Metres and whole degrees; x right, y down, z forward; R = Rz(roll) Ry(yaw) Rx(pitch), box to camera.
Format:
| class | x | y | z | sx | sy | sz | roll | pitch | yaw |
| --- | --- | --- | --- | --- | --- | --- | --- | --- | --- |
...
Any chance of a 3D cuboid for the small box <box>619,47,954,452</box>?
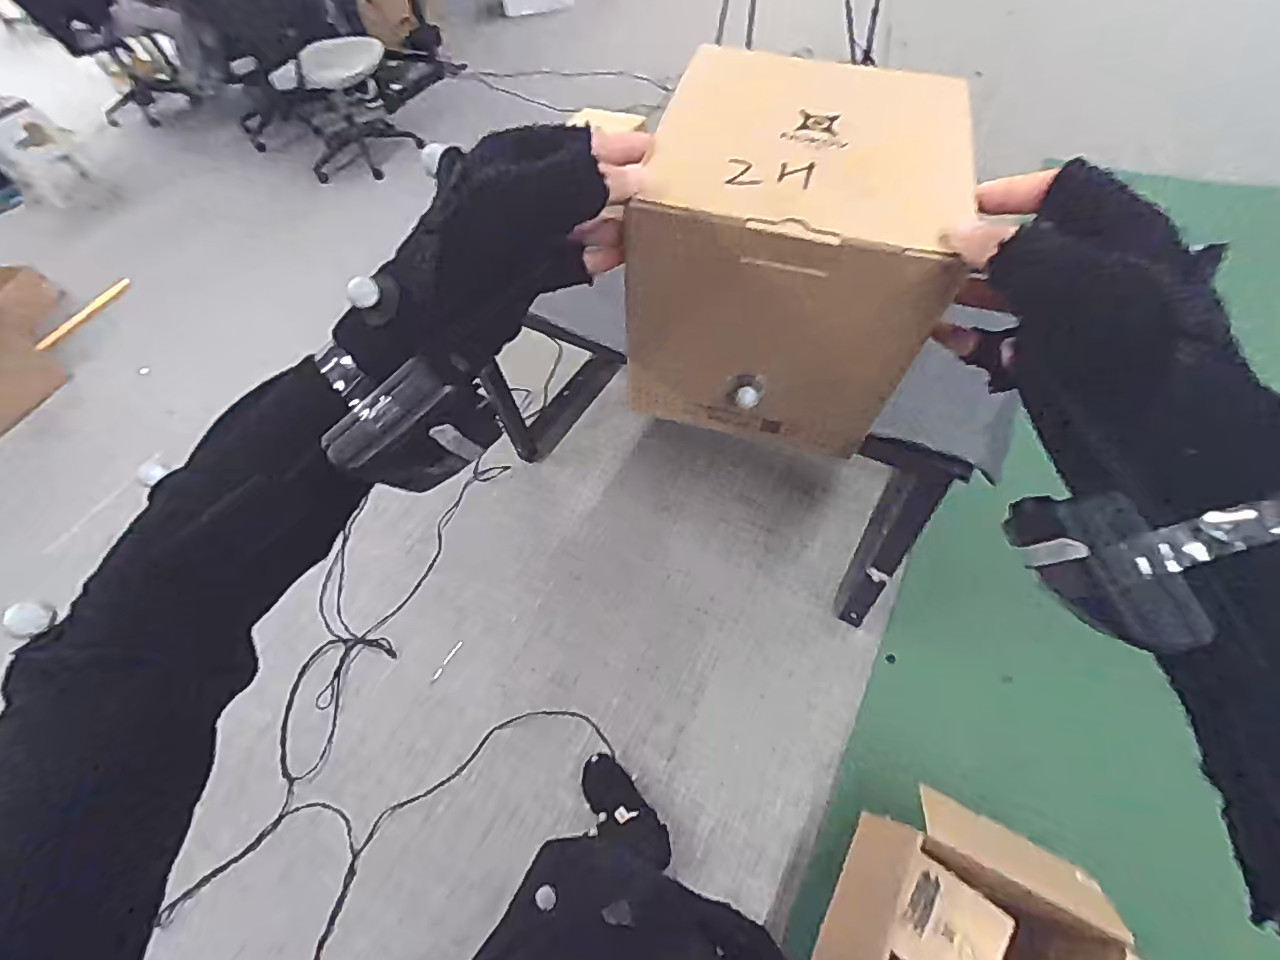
| class | x | y | z | sx | sy | sz | roll | pitch | yaw |
| --- | --- | --- | --- | --- | --- | --- | --- | --- | --- |
| small box | 0.085 | -0.147 | 0.368 | 0.168 | 0.176 | 0.179 | 13 | 61 | 7 |

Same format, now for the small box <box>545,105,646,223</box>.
| class | x | y | z | sx | sy | sz | roll | pitch | yaw |
| --- | --- | --- | --- | --- | --- | --- | --- | --- | --- |
| small box | -0.088 | -0.723 | 1.244 | 0.168 | 0.176 | 0.179 | 24 | 62 | 21 |
